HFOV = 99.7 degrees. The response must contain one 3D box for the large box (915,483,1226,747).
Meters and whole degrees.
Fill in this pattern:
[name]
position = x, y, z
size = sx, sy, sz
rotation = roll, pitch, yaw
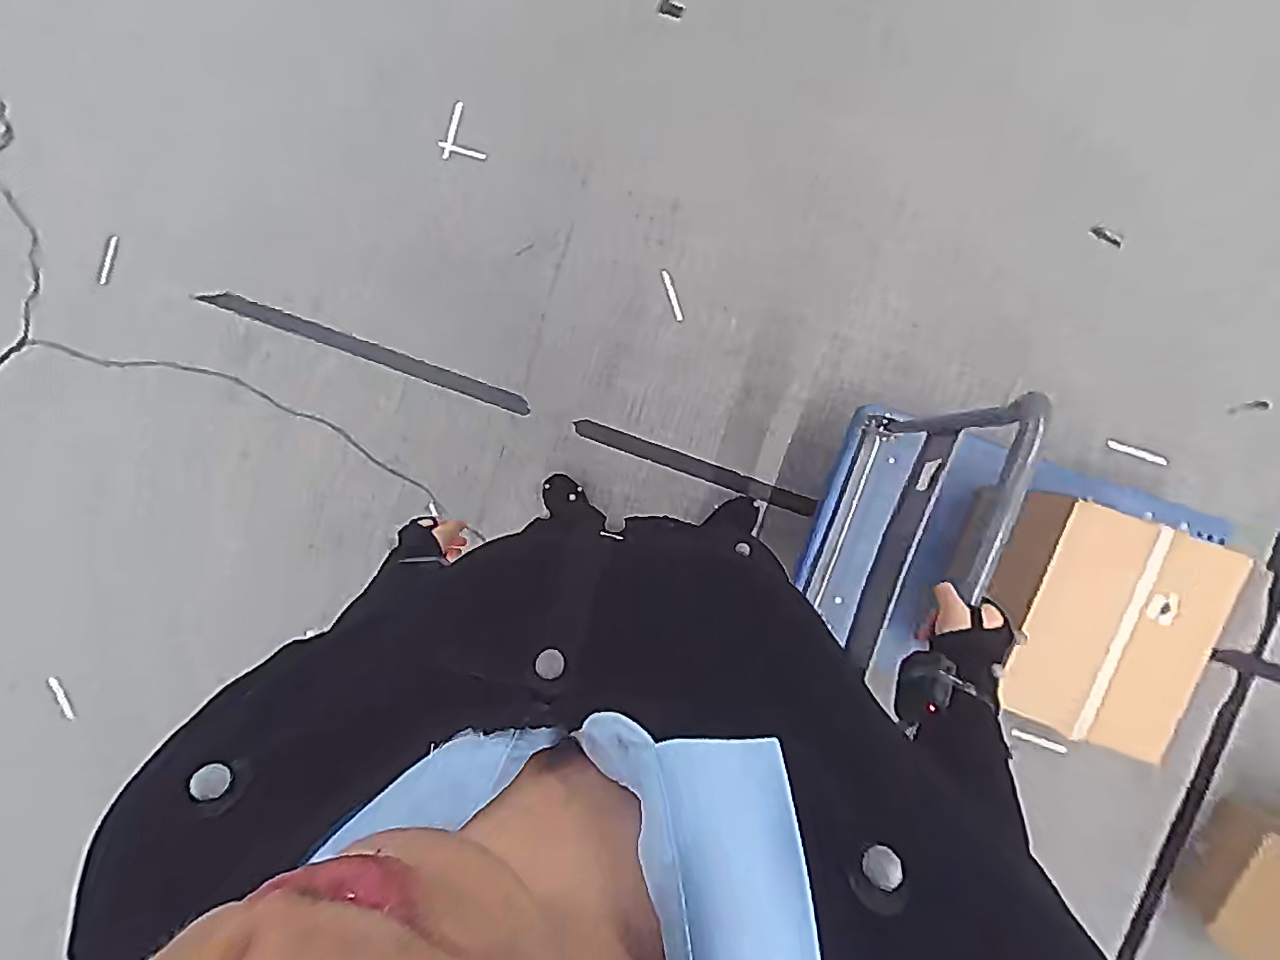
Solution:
[large box]
position = 0.845, 0.247, 1.125
size = 0.320, 0.320, 0.408
rotation = 20, 93, 2
